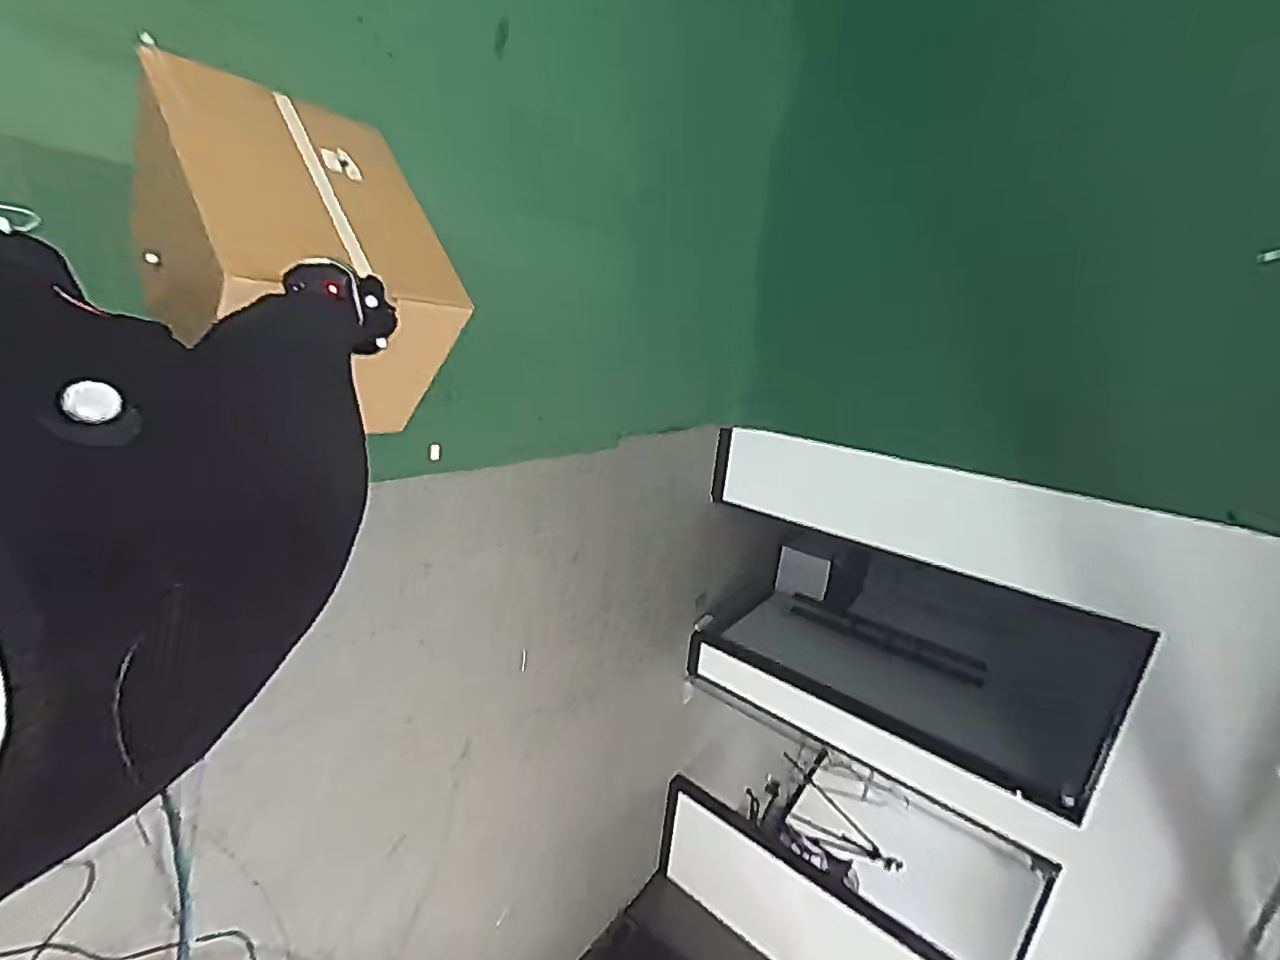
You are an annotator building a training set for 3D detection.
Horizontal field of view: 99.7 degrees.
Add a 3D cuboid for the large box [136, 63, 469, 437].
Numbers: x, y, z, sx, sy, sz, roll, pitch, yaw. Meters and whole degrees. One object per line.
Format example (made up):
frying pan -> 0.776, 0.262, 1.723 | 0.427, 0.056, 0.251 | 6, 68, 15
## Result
large box -> -0.543, -0.322, 0.855 | 0.320, 0.408, 0.320 | -10, 153, -51
